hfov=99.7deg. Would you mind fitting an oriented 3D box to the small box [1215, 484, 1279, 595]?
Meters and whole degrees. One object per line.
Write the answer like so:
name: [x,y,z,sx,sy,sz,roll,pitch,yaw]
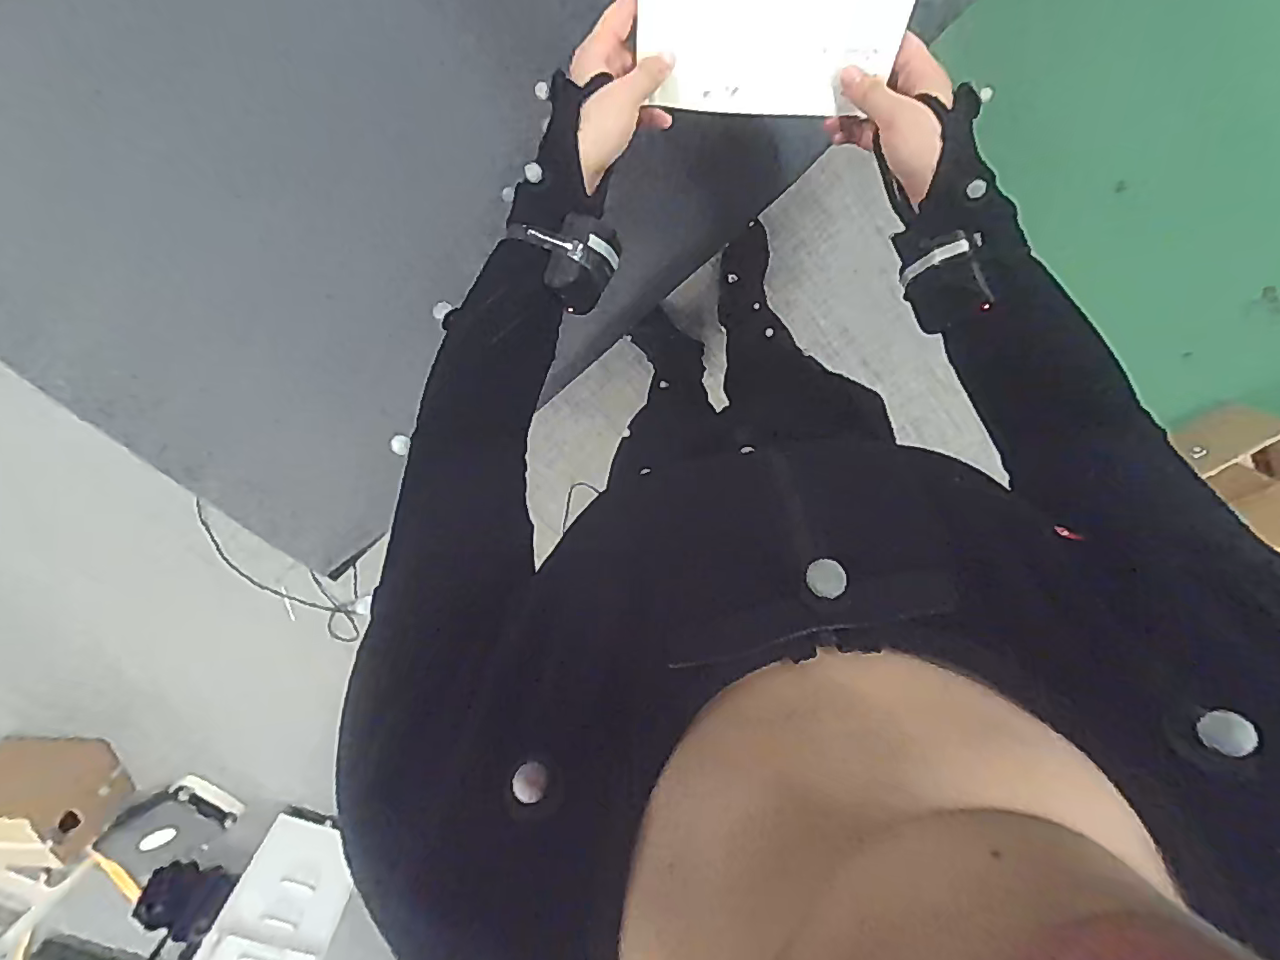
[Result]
small box: [1.524,0.134,1.278,0.179,0.176,0.168,-28,115,15]
